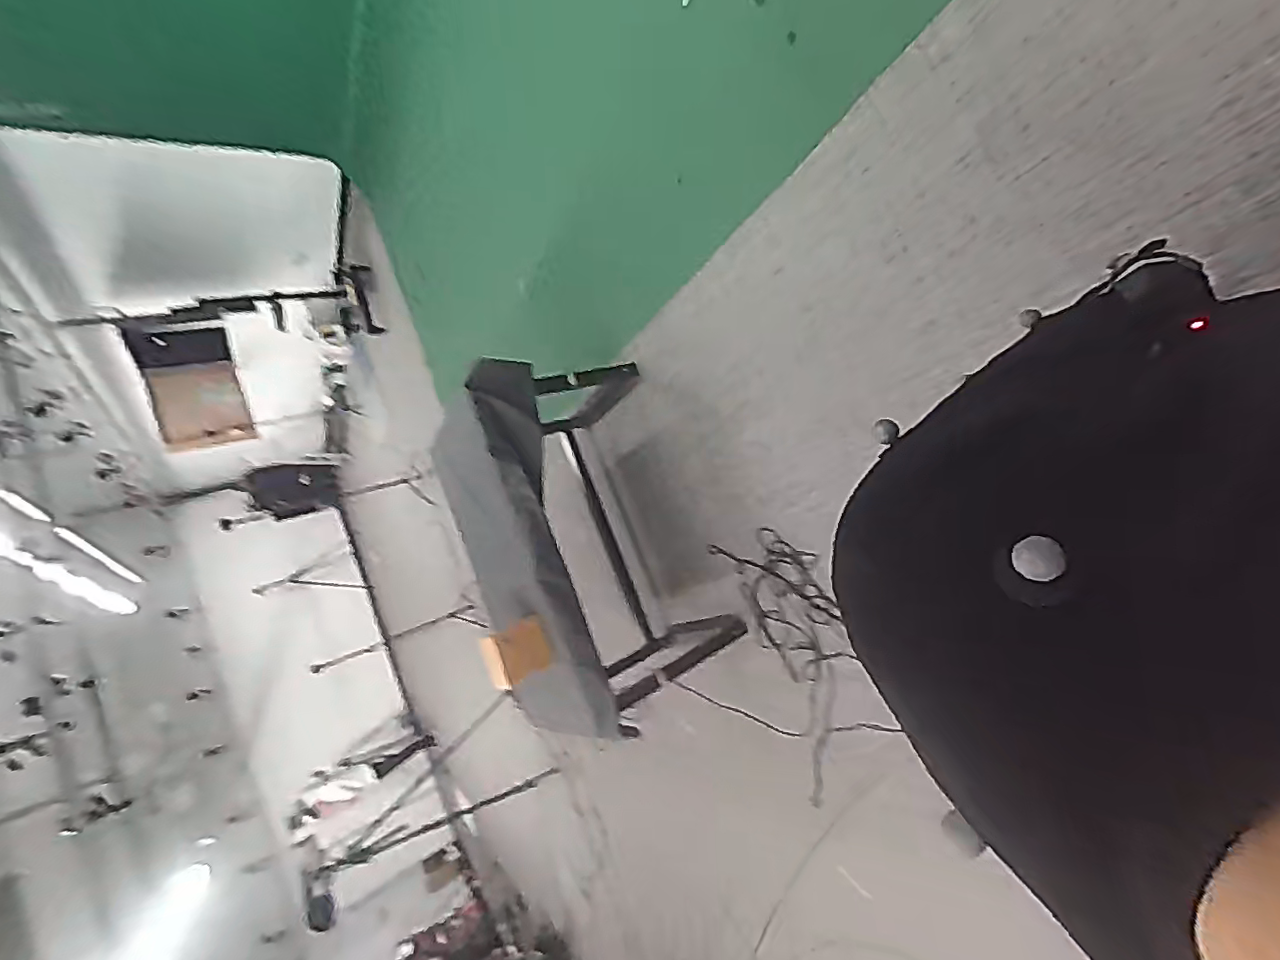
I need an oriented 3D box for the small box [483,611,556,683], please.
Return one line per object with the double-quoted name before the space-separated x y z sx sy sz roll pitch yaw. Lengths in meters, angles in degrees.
"small box" -0.400 0.558 1.806 0.168 0.176 0.179 -34 76 55
